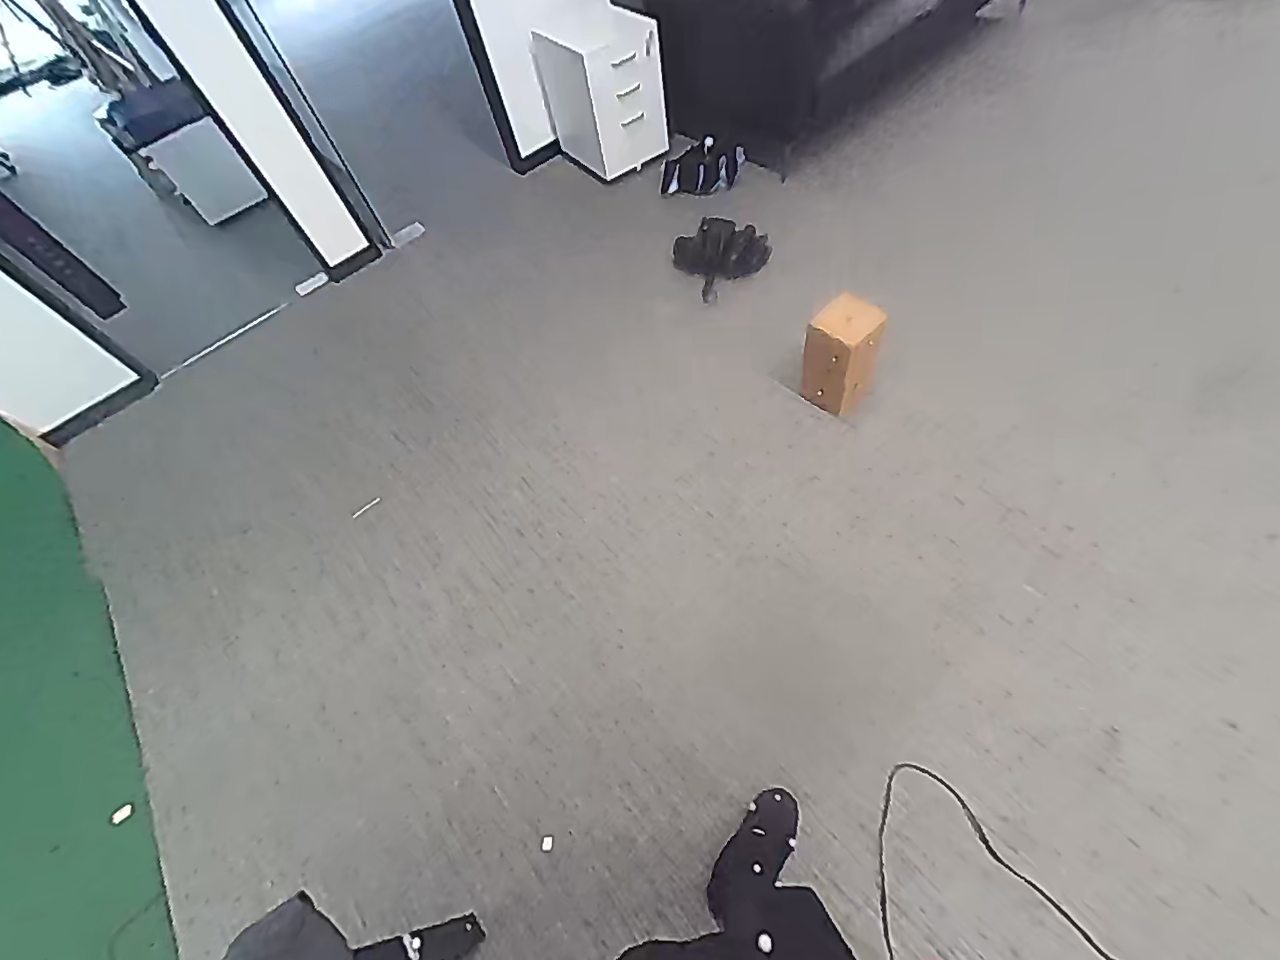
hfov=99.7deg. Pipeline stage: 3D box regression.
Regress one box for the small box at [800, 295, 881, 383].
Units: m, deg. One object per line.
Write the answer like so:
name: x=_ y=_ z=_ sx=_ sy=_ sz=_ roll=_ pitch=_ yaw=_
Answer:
small box: x=0.626 y=-0.442 z=1.711 sx=0.179 sy=0.176 sz=0.168 roll=-40 pitch=60 yaw=-17

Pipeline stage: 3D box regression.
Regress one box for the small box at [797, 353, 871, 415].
small box: x=0.655 y=-0.355 z=1.845 sx=0.179 sy=0.176 sz=0.168 roll=-43 pitch=60 yaw=-16
